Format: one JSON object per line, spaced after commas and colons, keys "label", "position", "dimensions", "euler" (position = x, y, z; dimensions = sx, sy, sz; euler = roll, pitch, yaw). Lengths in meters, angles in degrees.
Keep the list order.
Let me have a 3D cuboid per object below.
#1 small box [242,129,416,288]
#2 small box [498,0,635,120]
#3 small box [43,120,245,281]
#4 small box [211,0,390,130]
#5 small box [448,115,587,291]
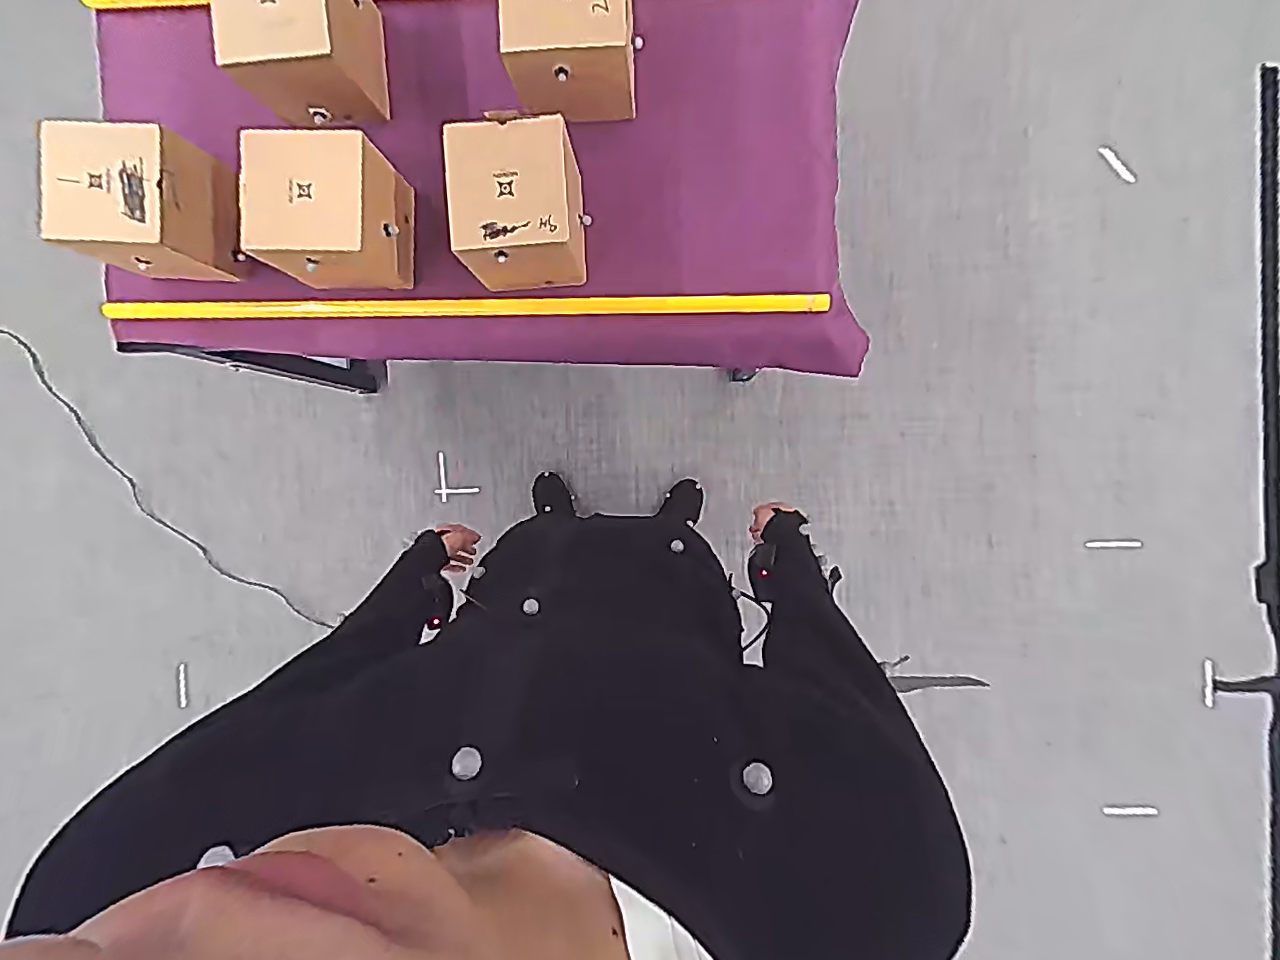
{"label": "small box", "position": [-0.459, -0.401, 0.824], "dimensions": [0.179, 0.176, 0.168], "euler": [1, 92, 3]}
{"label": "small box", "position": [-0.100, -0.662, 0.798], "dimensions": [0.179, 0.176, 0.168], "euler": [-1, 94, 2]}
{"label": "small box", "position": [-0.742, -0.416, 0.831], "dimensions": [0.179, 0.176, 0.168], "euler": [4, 92, 2]}
{"label": "small box", "position": [-0.501, -0.668, 0.815], "dimensions": [0.168, 0.176, 0.179], "euler": [-3, 93, 3]}
{"label": "small box", "position": [-0.174, -0.403, 0.811], "dimensions": [0.168, 0.176, 0.179], "euler": [-3, 90, 3]}
